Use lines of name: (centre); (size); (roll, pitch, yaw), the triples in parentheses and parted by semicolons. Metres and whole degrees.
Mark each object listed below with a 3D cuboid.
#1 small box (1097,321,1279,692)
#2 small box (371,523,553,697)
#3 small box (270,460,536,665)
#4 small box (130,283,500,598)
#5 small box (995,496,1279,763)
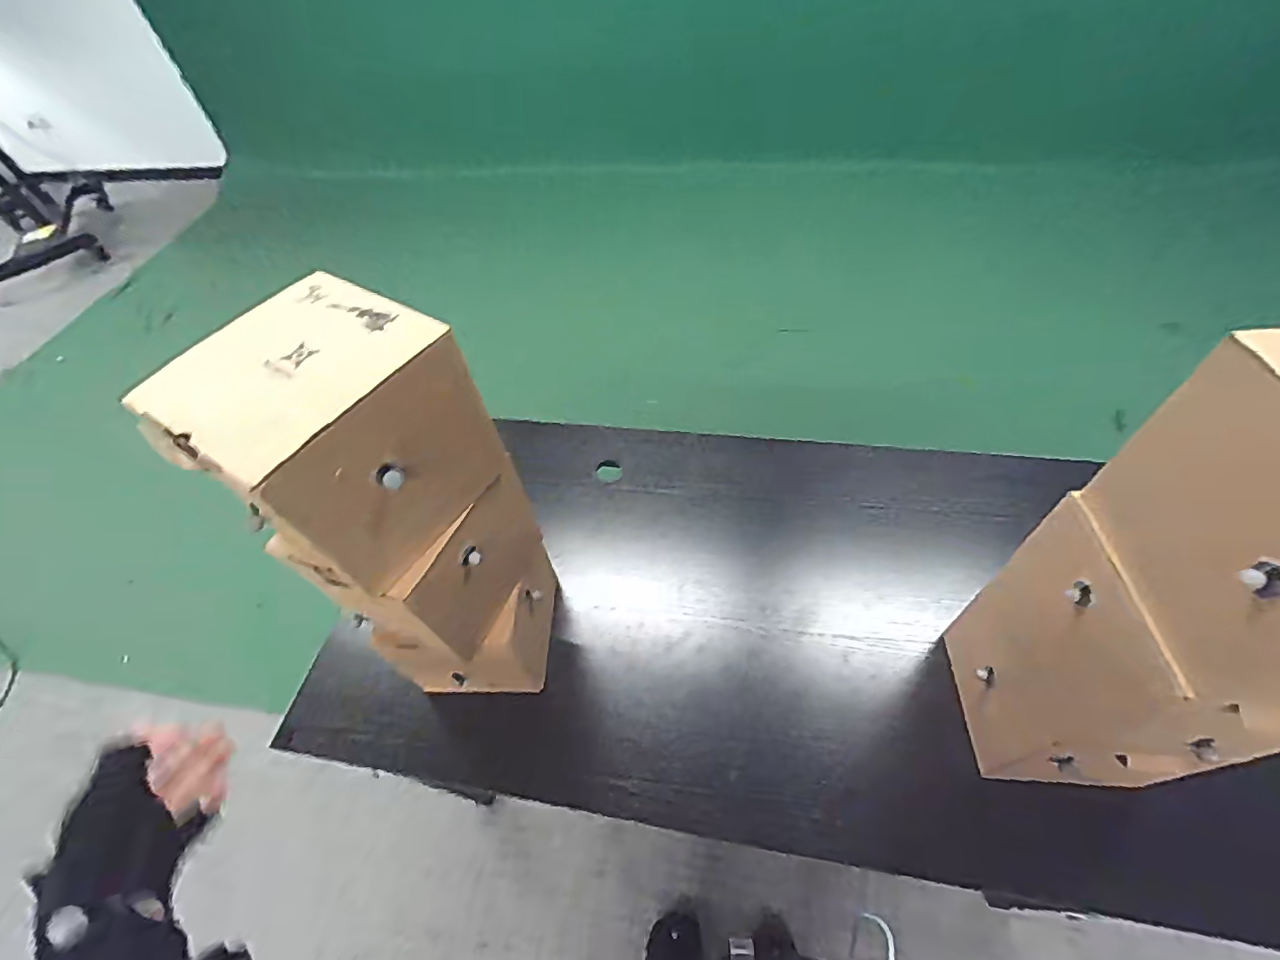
small box: (0.441, 0.022, 0.325); (0.168, 0.176, 0.179); (-1, 52, 5)
small box: (-0.217, 0.174, 0.718); (0.168, 0.176, 0.179); (-2, 54, 4)
small box: (-0.233, 0.074, 0.587); (0.168, 0.176, 0.179); (16, 56, 17)
small box: (-0.248, -0.030, 0.461); (0.168, 0.176, 0.179); (26, 61, 22)
small box: (0.450, 0.130, 0.469); (0.168, 0.176, 0.179); (-2, 53, 6)
